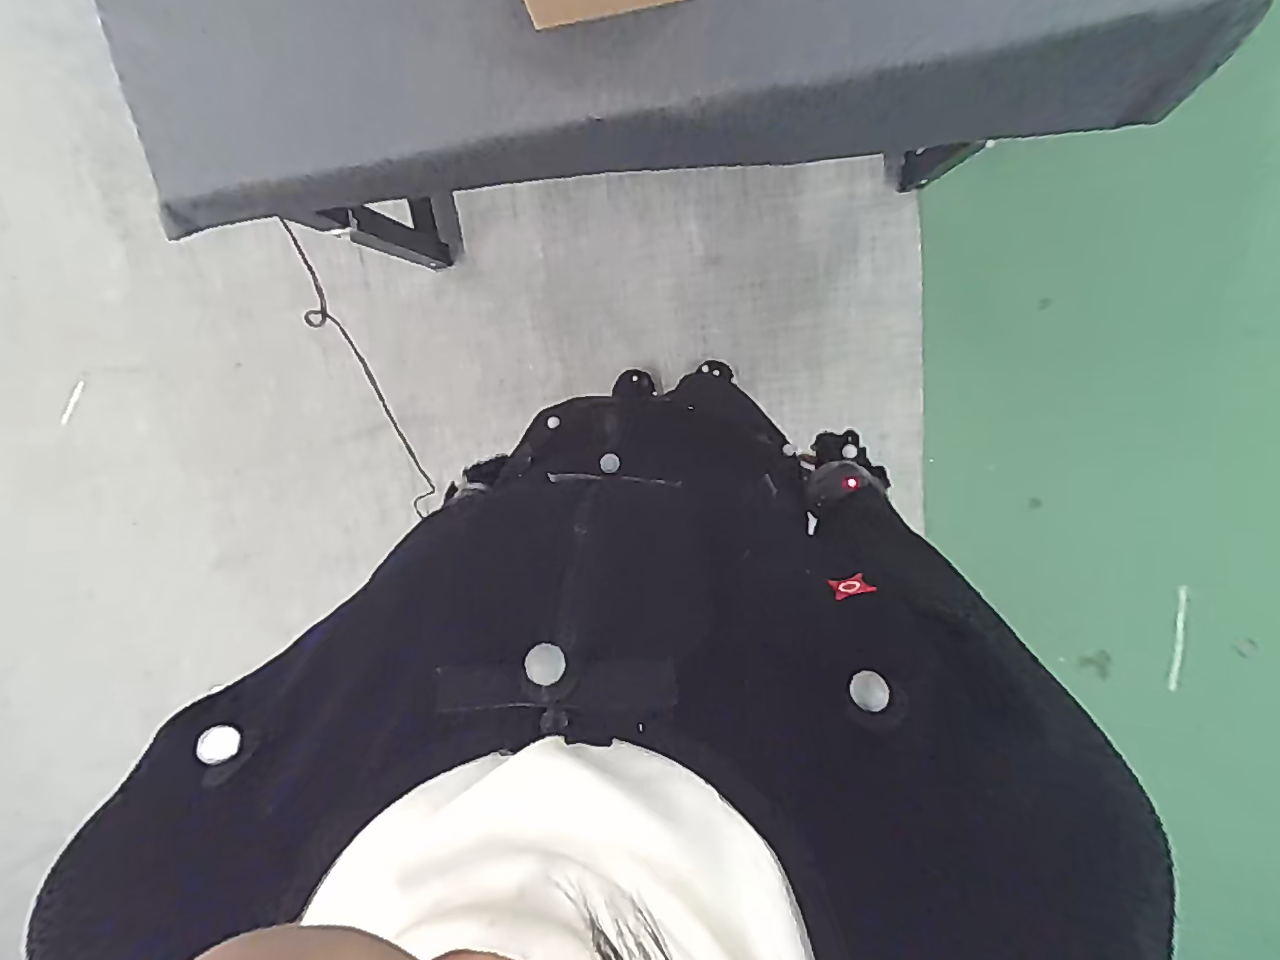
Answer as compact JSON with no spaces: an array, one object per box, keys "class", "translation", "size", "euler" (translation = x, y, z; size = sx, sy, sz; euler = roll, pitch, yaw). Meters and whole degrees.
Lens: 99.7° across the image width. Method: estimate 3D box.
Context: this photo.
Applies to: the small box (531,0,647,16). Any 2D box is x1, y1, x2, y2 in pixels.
[{"class":"small box","translation":[-0.042,-0.561,0.478],"size":[0.179,0.176,0.168],"euler":[-8,103,4]}]
